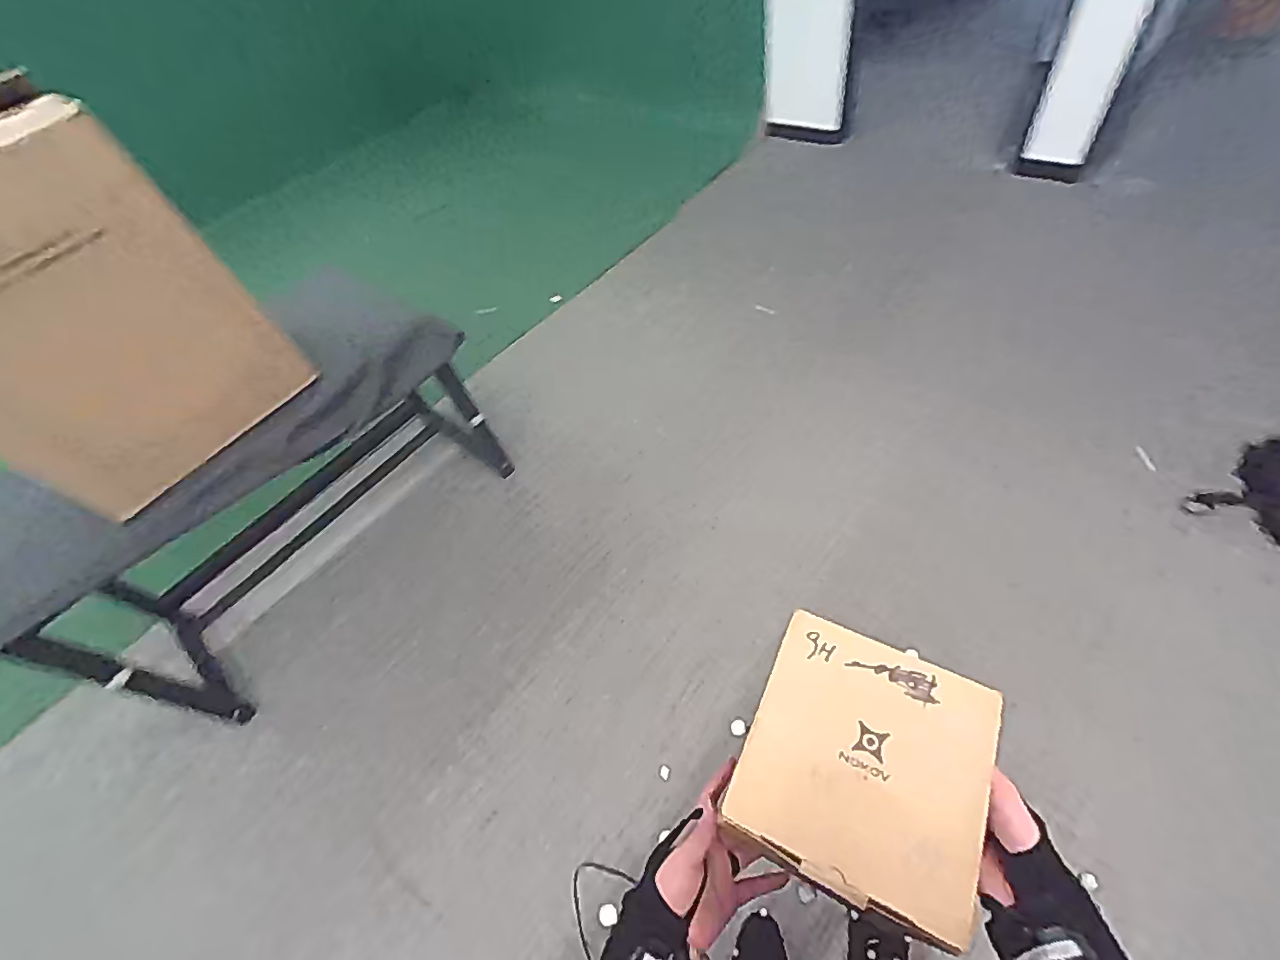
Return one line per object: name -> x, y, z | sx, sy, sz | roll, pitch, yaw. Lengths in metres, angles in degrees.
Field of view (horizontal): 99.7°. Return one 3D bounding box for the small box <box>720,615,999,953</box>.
small box -> 0.177, 0.253, 0.472 | 0.168, 0.176, 0.179 | 20, 60, 18
